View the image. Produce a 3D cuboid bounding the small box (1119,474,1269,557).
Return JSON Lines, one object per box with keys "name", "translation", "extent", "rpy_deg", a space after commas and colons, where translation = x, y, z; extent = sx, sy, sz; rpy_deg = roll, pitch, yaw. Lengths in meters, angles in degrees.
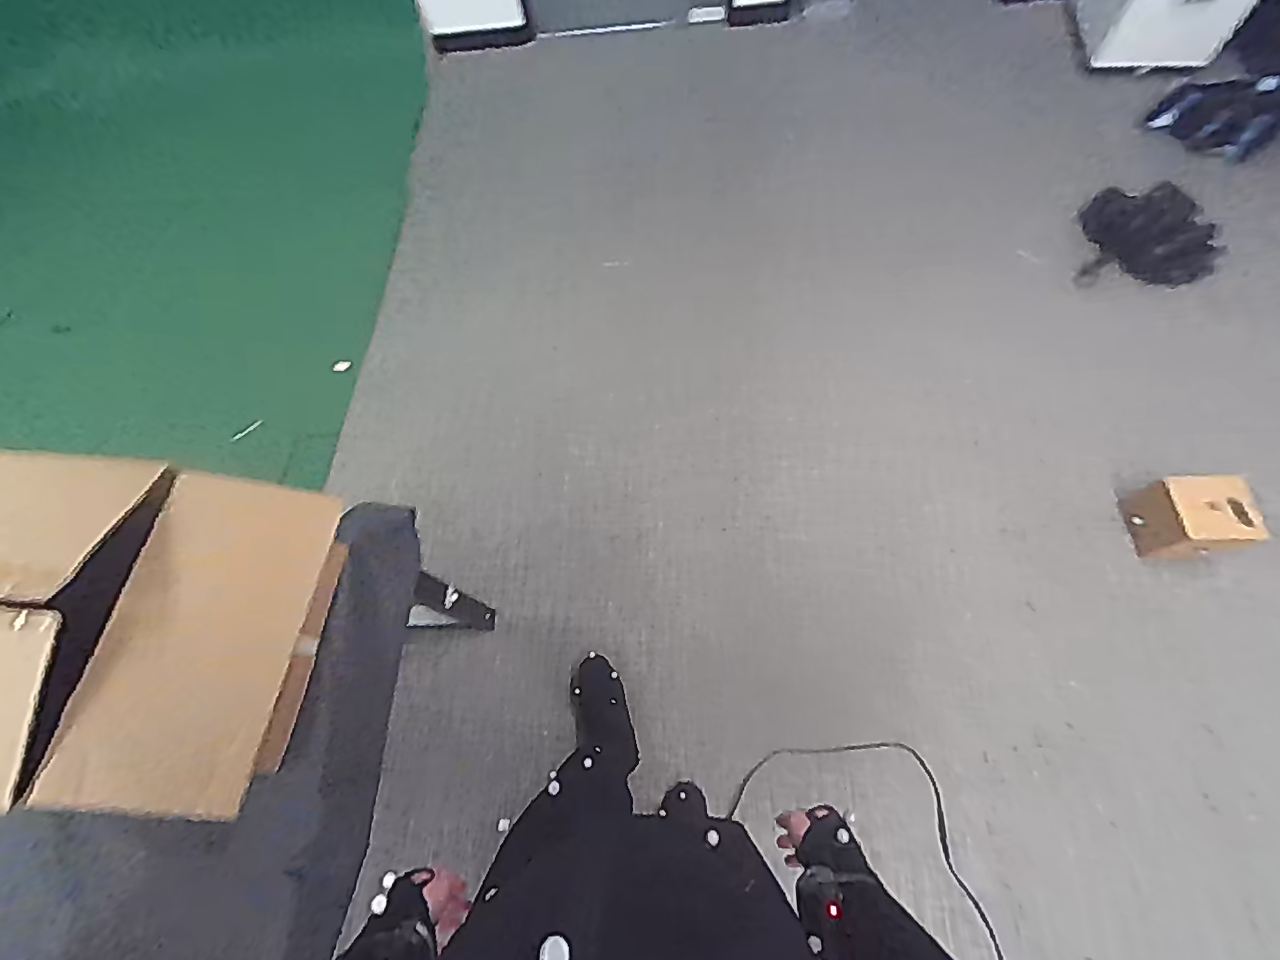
{"name": "small box", "translation": [1.373, 0.092, 1.356], "extent": [0.179, 0.176, 0.168], "rpy_deg": [-2, 67, 5]}
